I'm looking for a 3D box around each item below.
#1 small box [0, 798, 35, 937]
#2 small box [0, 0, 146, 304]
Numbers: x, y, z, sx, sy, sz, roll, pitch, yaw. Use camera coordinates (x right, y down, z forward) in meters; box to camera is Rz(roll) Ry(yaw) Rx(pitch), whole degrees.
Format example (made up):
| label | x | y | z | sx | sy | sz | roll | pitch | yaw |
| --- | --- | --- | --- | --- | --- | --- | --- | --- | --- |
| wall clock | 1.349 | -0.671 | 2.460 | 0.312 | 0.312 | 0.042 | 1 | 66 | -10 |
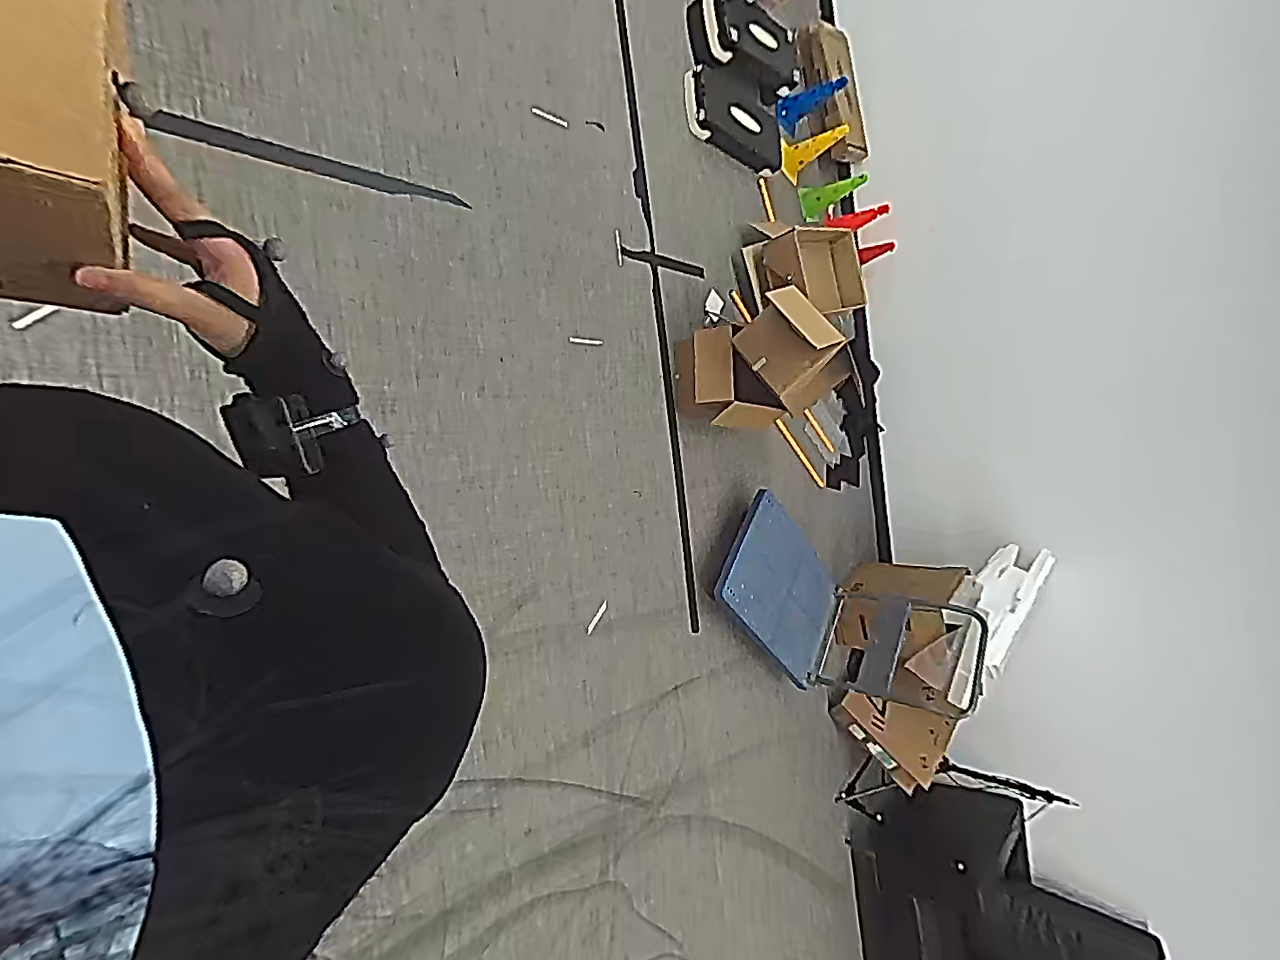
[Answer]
| label | x | y | z | sx | sy | sz | roll | pitch | yaw |
| --- | --- | --- | --- | --- | --- | --- | --- | --- | --- |
| small box | -1.129 | 0.655 | 0.888 | 0.168 | 0.176 | 0.179 | -3 | 89 | -44 |
| small box | -0.365 | -0.216 | 0.273 | 0.168 | 0.176 | 0.179 | -1 | 84 | -42 |
